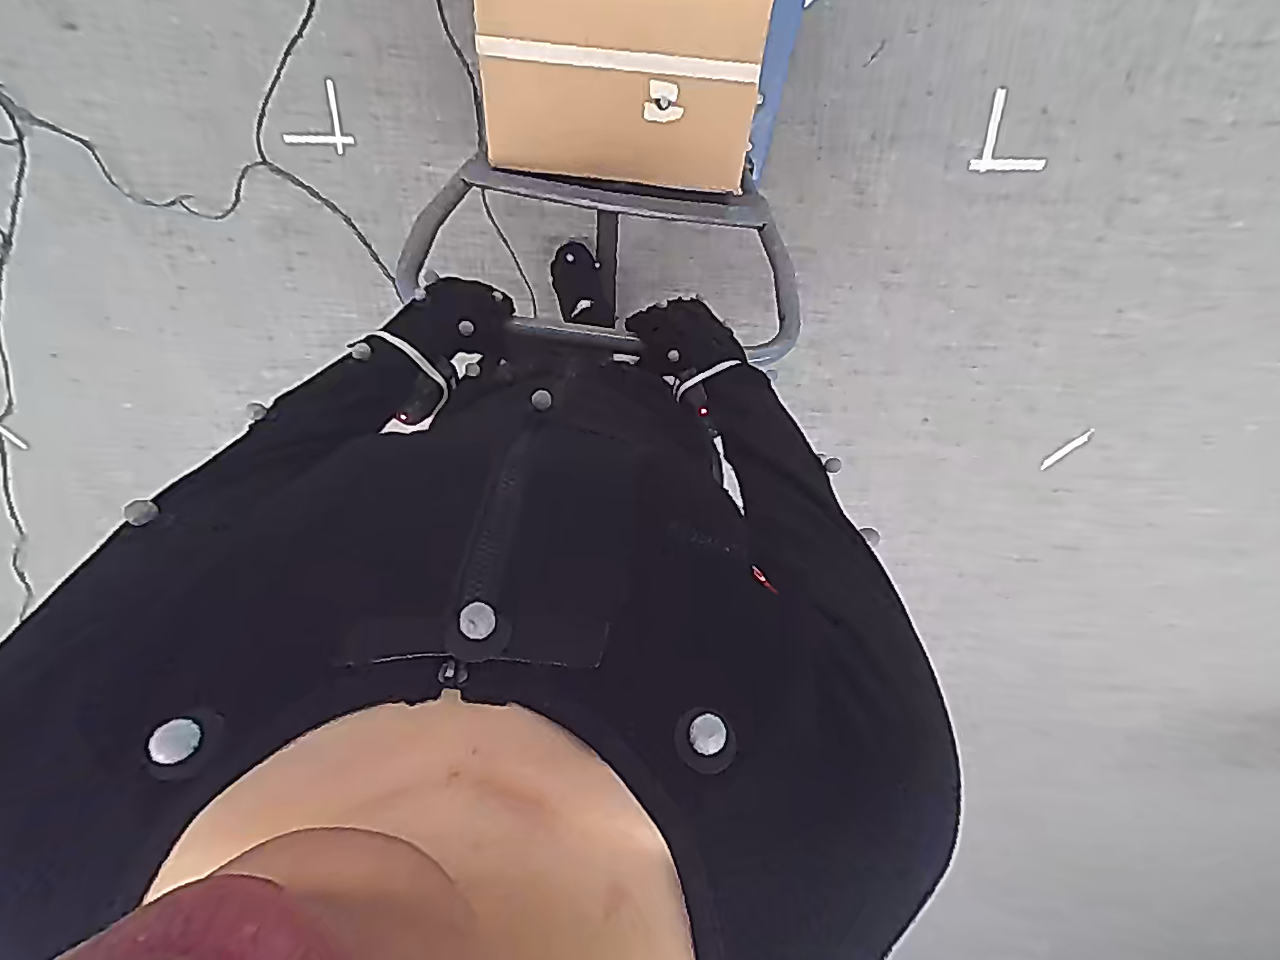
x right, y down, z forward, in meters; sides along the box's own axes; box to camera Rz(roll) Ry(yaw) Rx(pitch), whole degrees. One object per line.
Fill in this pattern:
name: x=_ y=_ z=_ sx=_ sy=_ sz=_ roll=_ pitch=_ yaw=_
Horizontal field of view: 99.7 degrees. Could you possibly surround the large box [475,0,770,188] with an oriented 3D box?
large box: x=-0.030 y=-0.693 z=0.879 sx=0.408 sy=0.320 sz=0.320 roll=3 pitch=132 yaw=-3
